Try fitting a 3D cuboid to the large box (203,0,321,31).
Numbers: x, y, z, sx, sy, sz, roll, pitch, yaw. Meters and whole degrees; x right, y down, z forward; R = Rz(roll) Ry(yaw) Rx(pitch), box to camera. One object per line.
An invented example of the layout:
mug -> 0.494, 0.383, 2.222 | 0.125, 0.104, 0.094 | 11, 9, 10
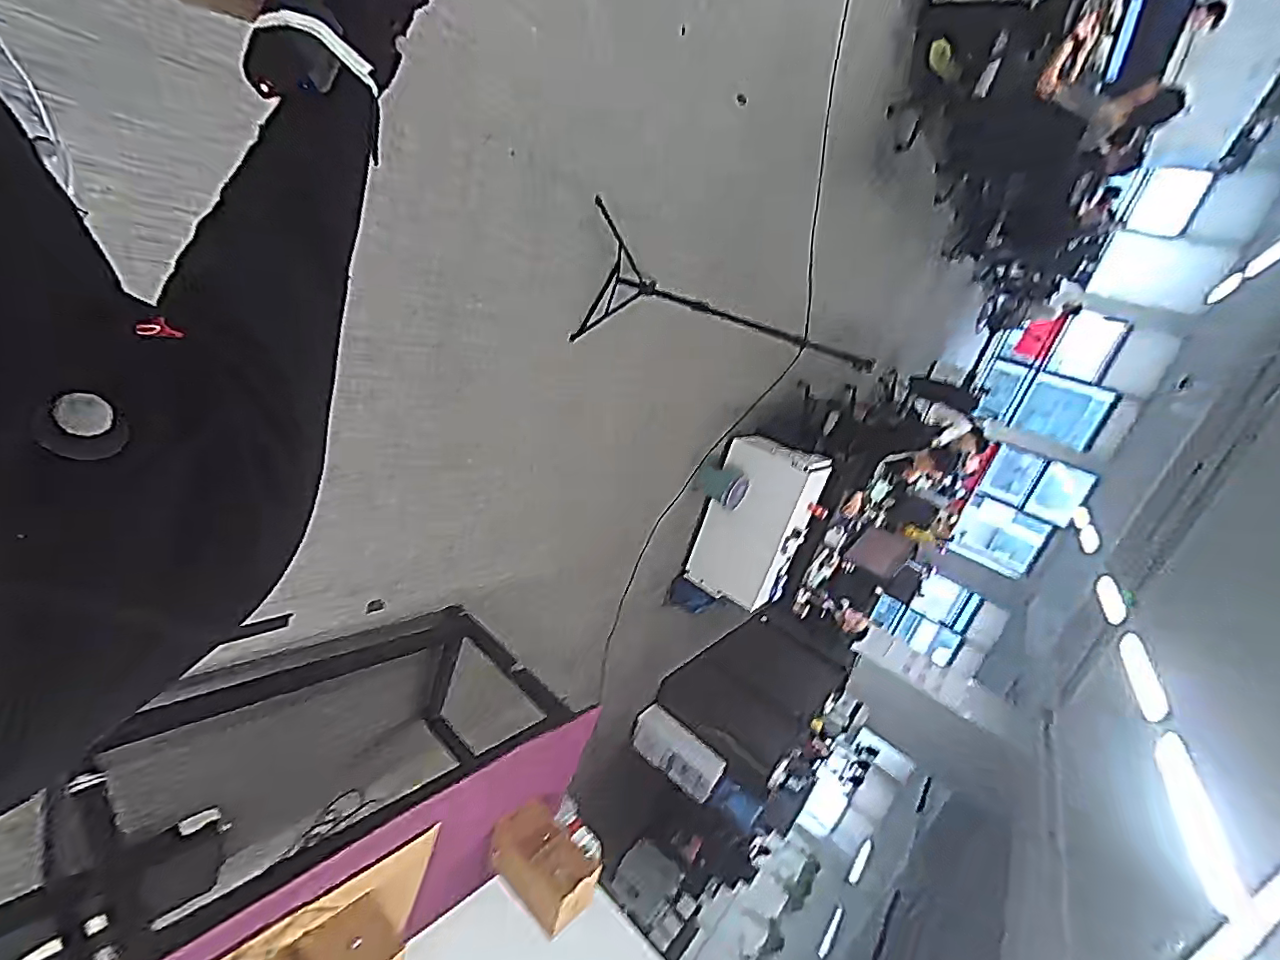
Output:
large box -> -0.402, -0.600, 0.323 | 0.320, 0.320, 0.408 | -57, 153, 8
